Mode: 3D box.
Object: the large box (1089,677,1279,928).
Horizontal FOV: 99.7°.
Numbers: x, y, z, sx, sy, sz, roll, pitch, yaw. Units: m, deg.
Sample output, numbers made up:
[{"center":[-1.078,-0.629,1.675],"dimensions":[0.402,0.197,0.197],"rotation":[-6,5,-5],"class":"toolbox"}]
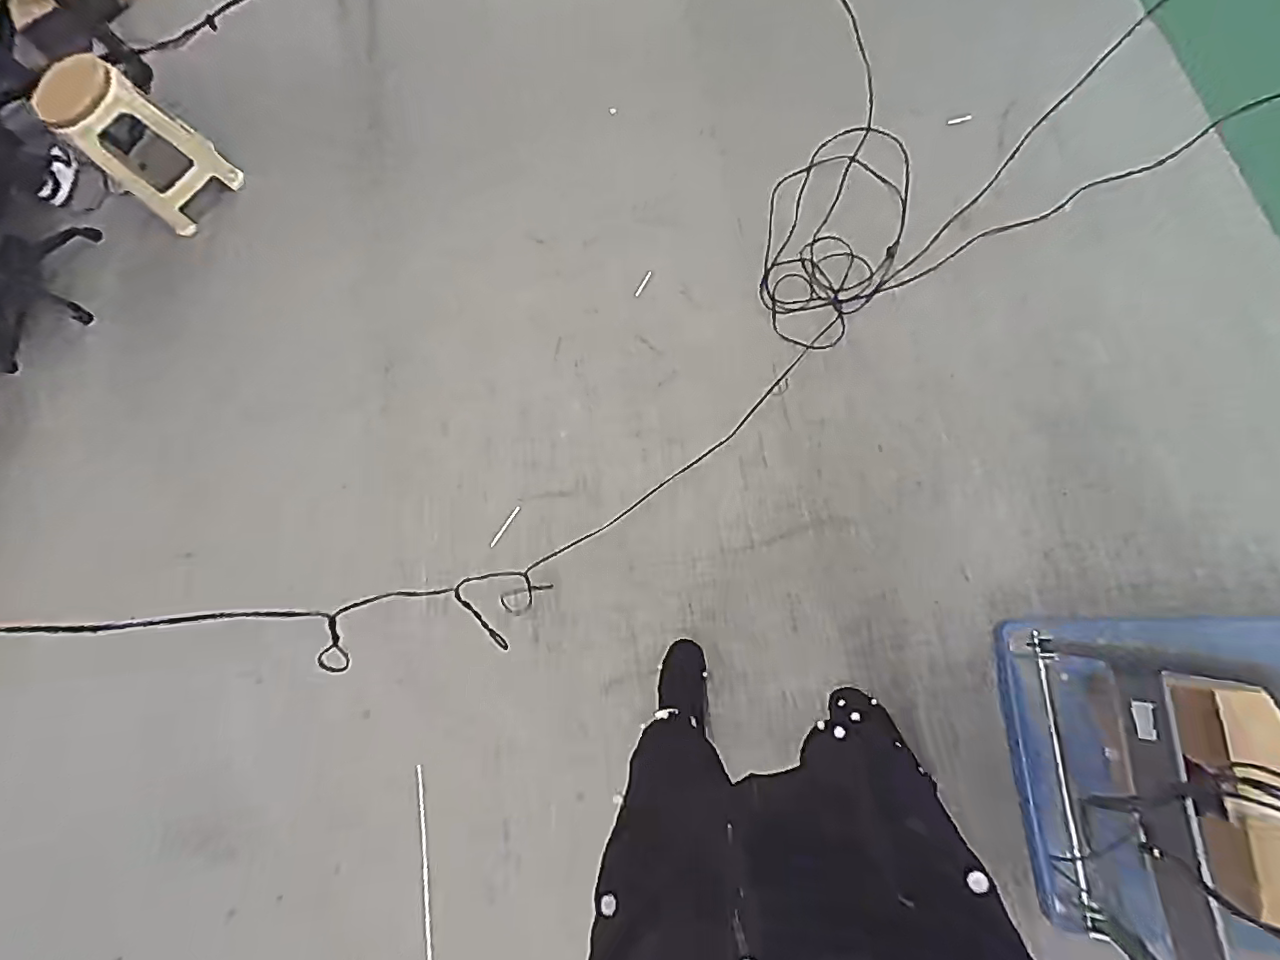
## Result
[{"center":[1.081,0.503,0.894],"dimensions":[0.408,0.320,0.320],"rotation":[-1,76,10],"class":"large box"}]
